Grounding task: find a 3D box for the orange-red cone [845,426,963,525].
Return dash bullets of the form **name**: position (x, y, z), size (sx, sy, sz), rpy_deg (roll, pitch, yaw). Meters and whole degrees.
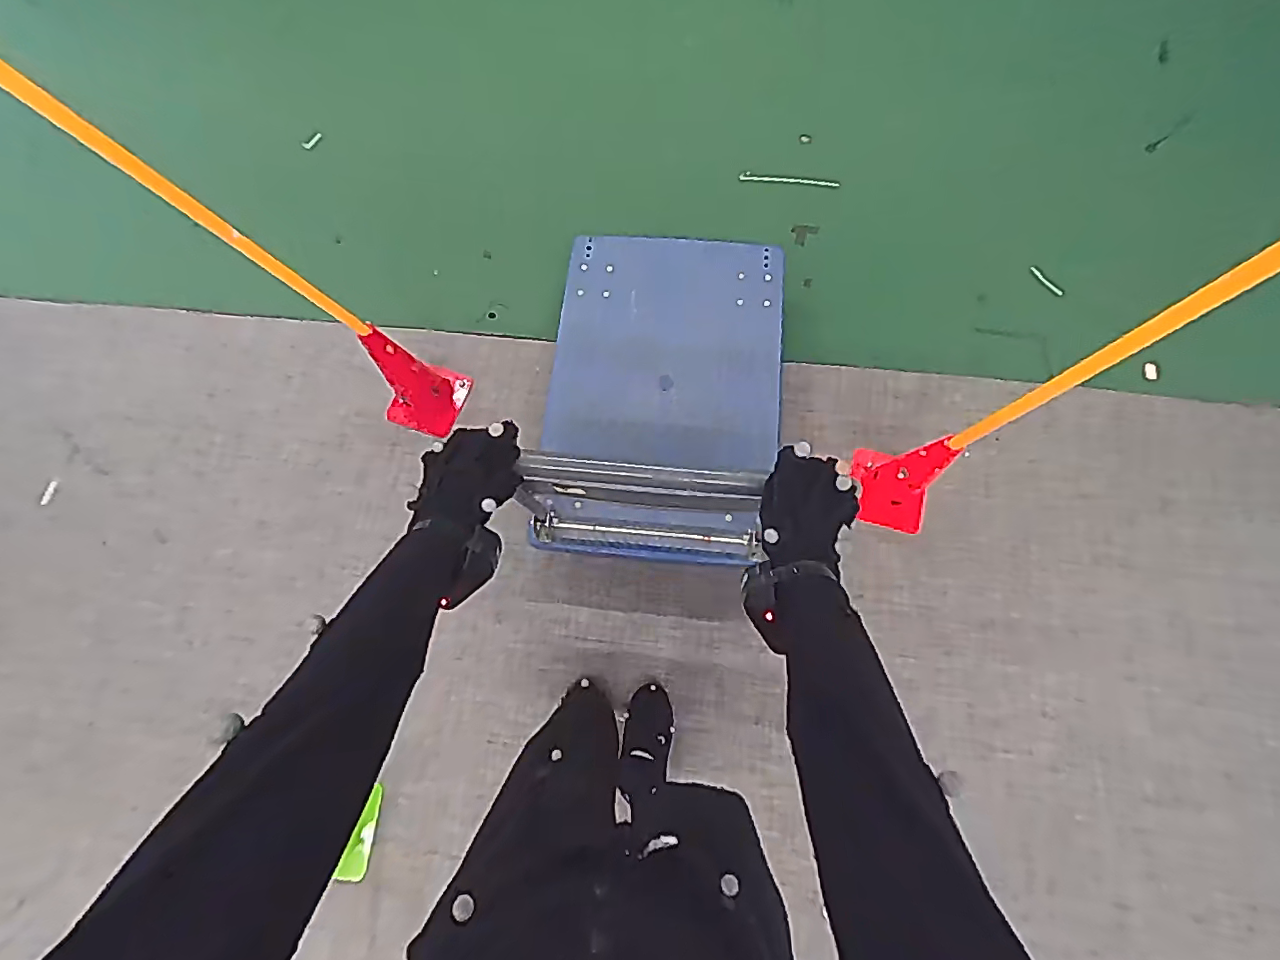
- **orange-red cone**: position (0.647, -0.041, 1.262), size (0.198, 0.360, 0.199), rpy_deg (16, 76, 8)
